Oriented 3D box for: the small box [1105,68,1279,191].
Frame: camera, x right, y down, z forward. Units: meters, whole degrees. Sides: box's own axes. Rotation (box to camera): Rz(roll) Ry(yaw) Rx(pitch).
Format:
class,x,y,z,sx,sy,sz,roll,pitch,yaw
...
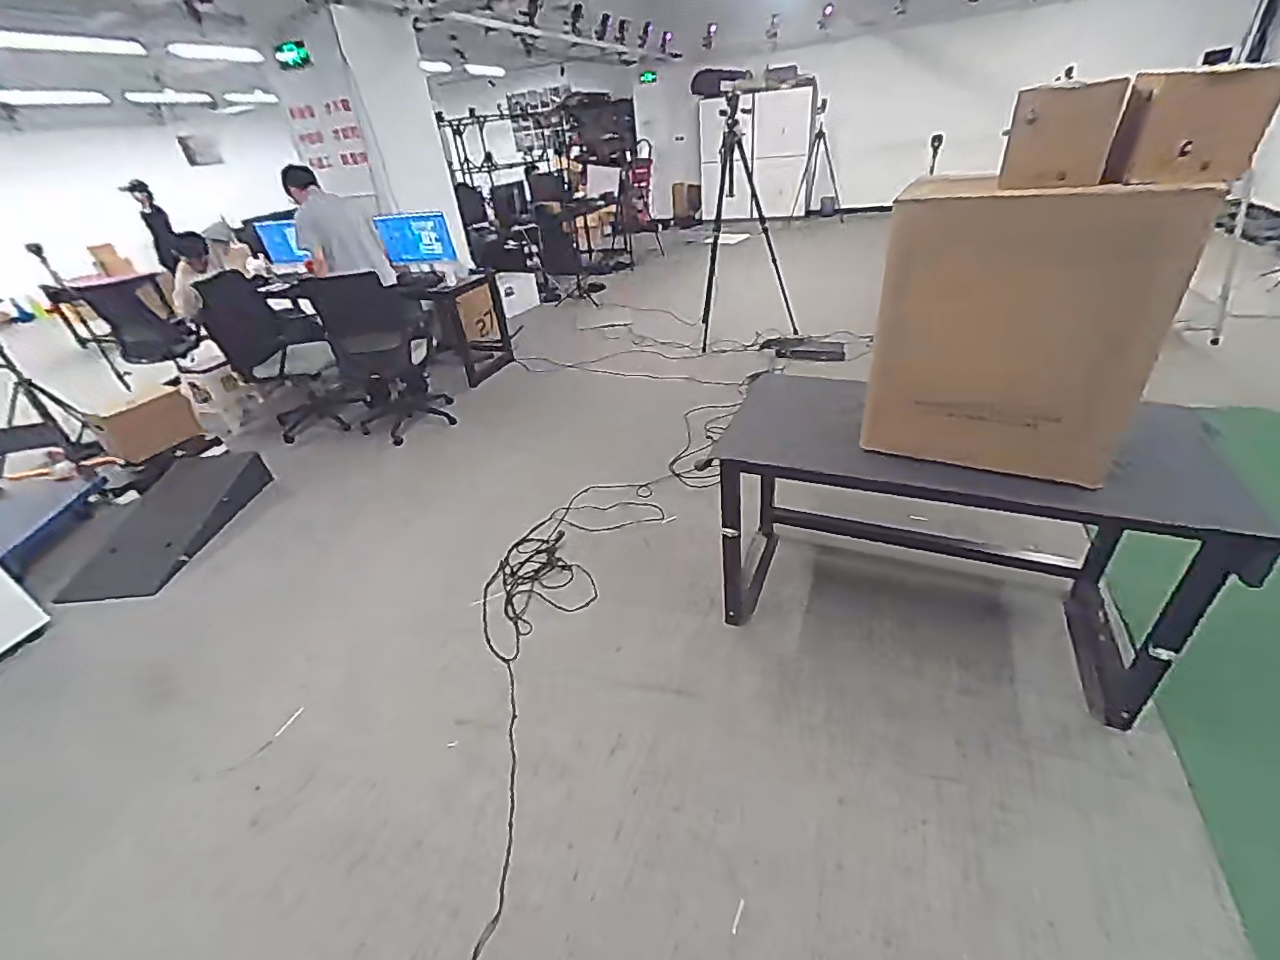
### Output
class,x,y,z,sx,sy,sz,roll,pitch,yaw
small box,0.991,-0.633,0.976,0.168,0.176,0.179,10,39,18
